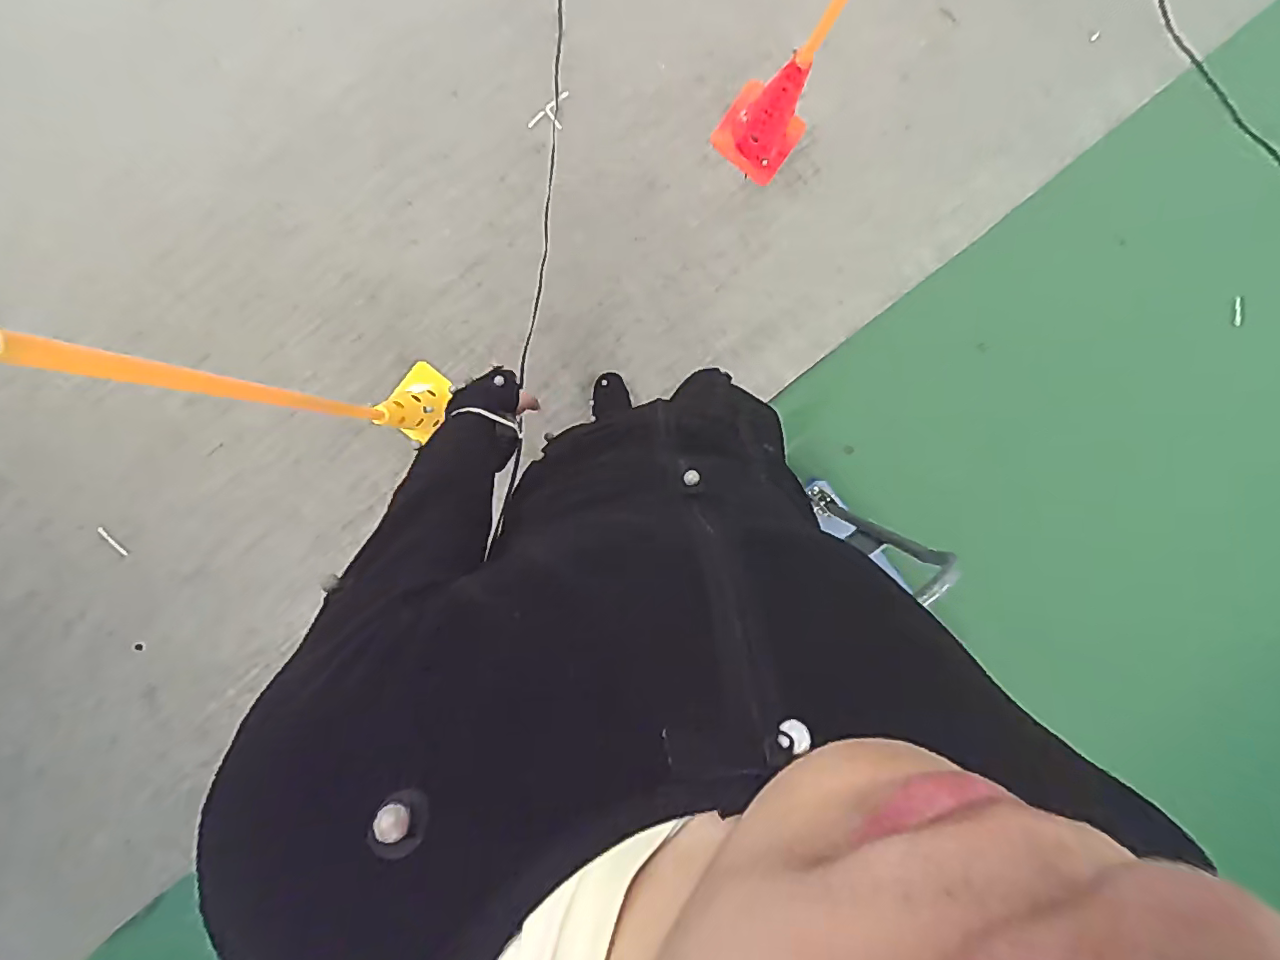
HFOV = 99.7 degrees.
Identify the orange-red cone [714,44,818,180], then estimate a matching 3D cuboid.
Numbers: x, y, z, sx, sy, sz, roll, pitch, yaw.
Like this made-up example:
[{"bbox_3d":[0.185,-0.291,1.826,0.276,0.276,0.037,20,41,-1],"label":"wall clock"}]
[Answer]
[{"bbox_3d":[0.336,-0.913,1.286,0.198,0.360,0.199,36,95,-10],"label":"orange-red cone"}]
